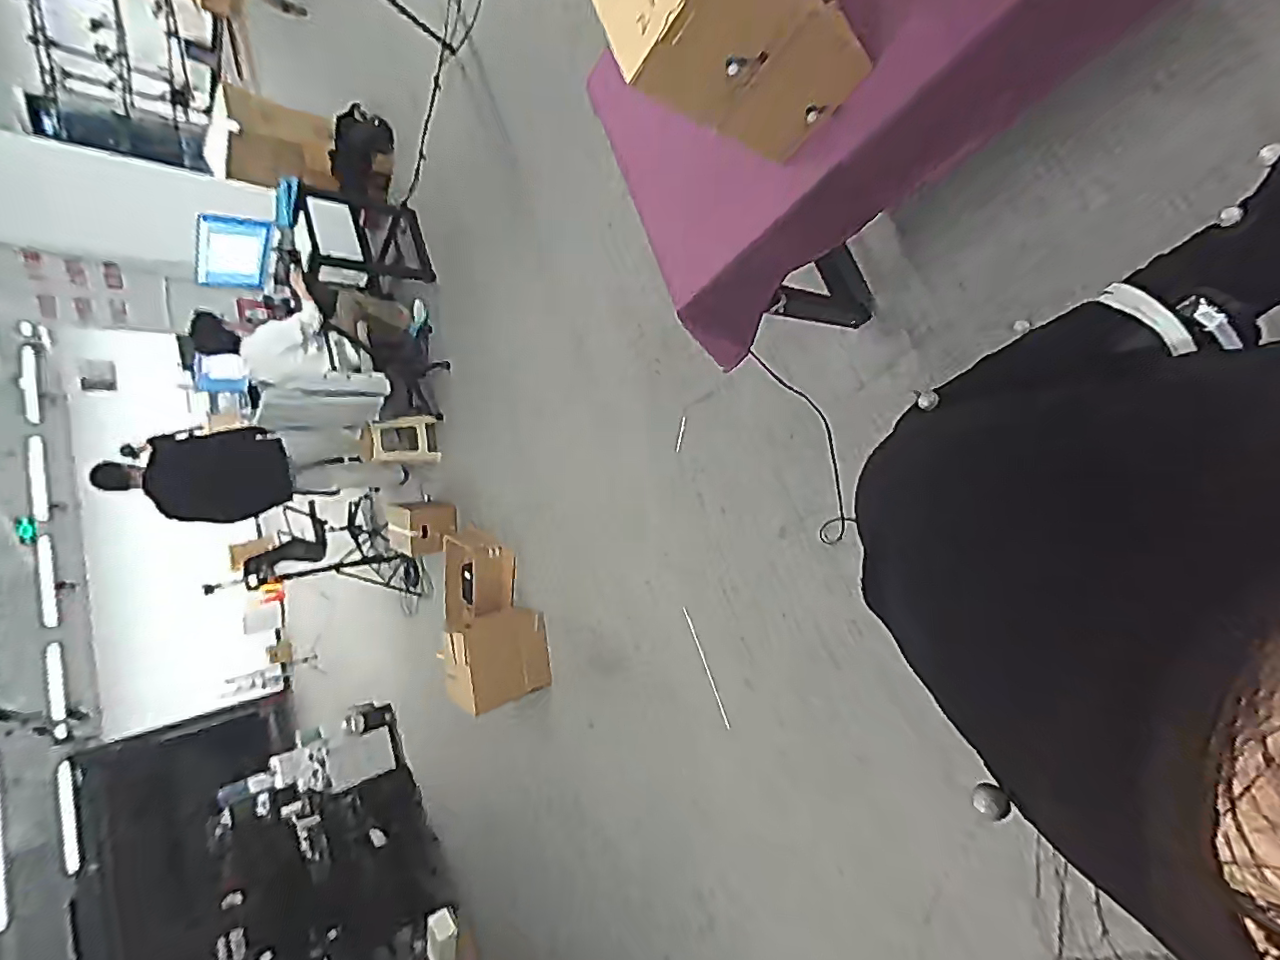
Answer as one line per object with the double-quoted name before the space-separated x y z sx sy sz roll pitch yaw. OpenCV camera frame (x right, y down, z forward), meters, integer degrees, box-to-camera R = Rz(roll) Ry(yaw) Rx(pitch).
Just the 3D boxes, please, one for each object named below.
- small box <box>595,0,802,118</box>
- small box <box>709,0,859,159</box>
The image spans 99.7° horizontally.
"small box" 0.067 -0.602 0.674 0.168 0.176 0.179 -32 73 46
"small box" 0.190 -0.615 0.784 0.179 0.176 0.168 -34 71 44
